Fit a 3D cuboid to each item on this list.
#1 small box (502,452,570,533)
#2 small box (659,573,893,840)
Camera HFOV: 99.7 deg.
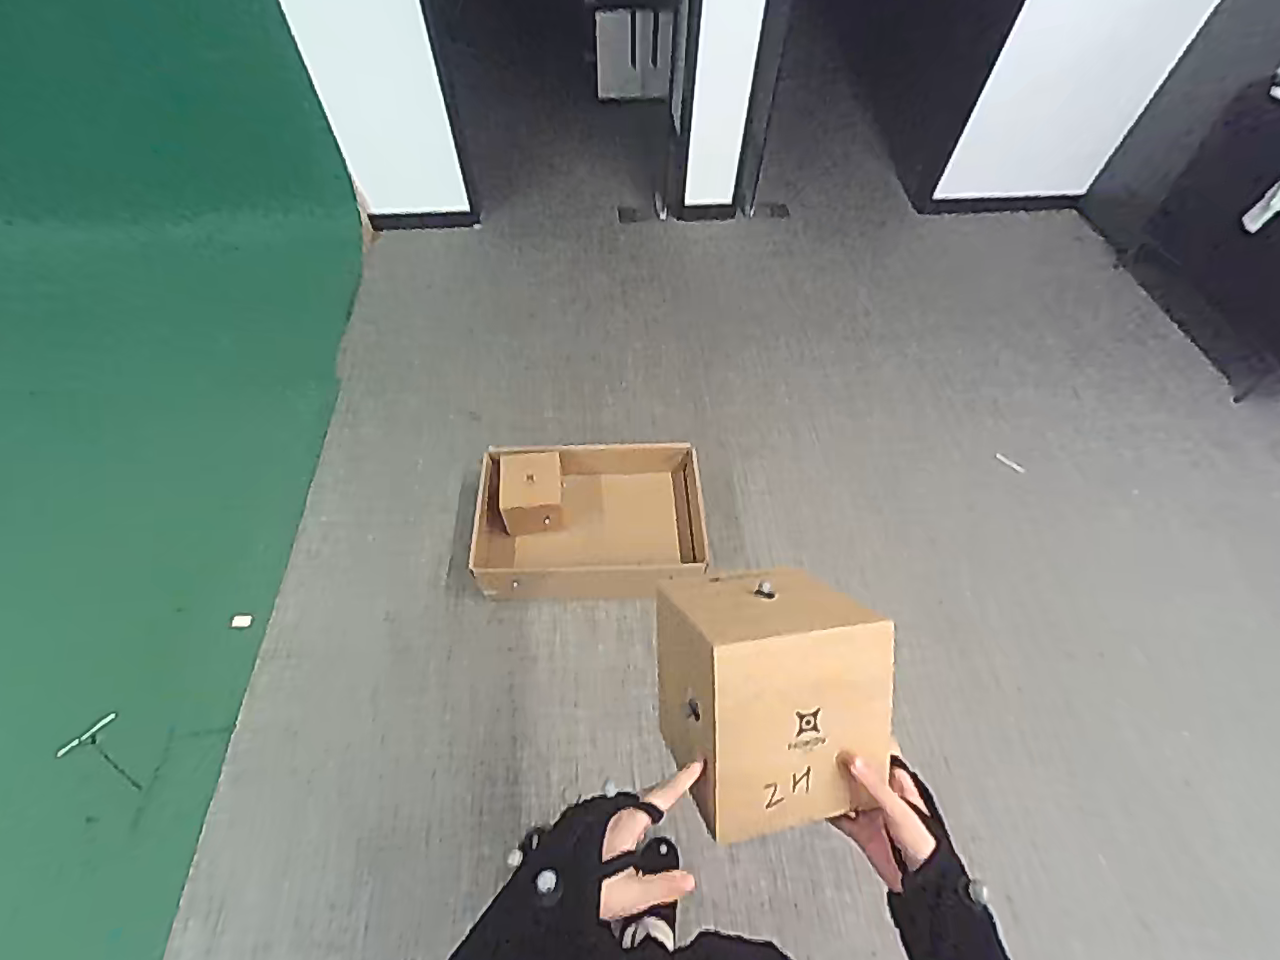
[{"bbox_3d":[-0.293,0.042,1.551,0.168,0.176,0.179,-4,58,-4],"label":"small box"},{"bbox_3d":[0.118,0.195,0.525,0.168,0.176,0.179,-3,98,-12],"label":"small box"}]
